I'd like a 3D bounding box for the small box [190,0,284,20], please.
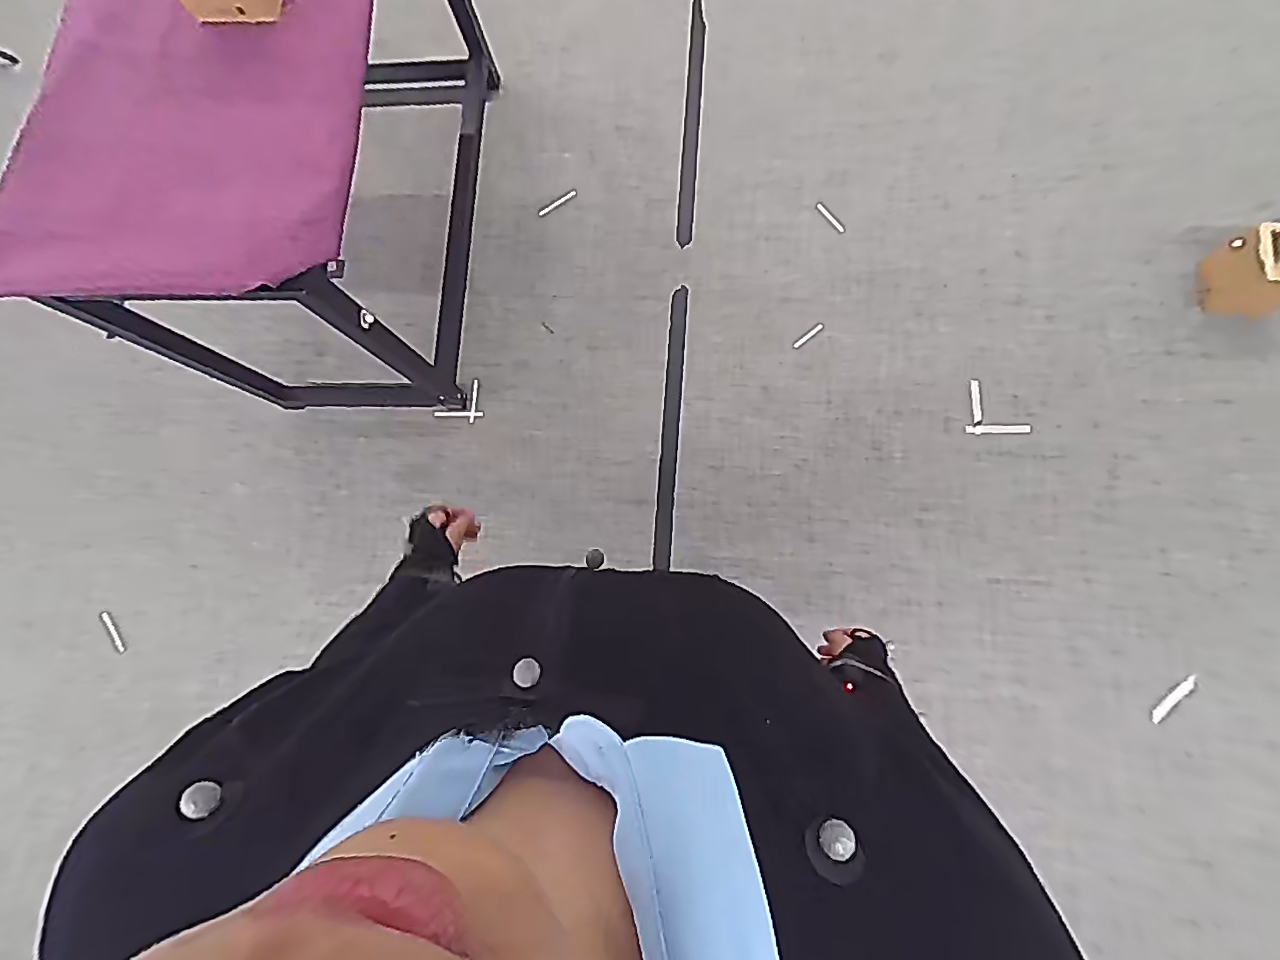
[{"bbox_3d":[-0.758,-0.970,0.965,0.168,0.176,0.179,5,80,5],"label":"small box"}]
